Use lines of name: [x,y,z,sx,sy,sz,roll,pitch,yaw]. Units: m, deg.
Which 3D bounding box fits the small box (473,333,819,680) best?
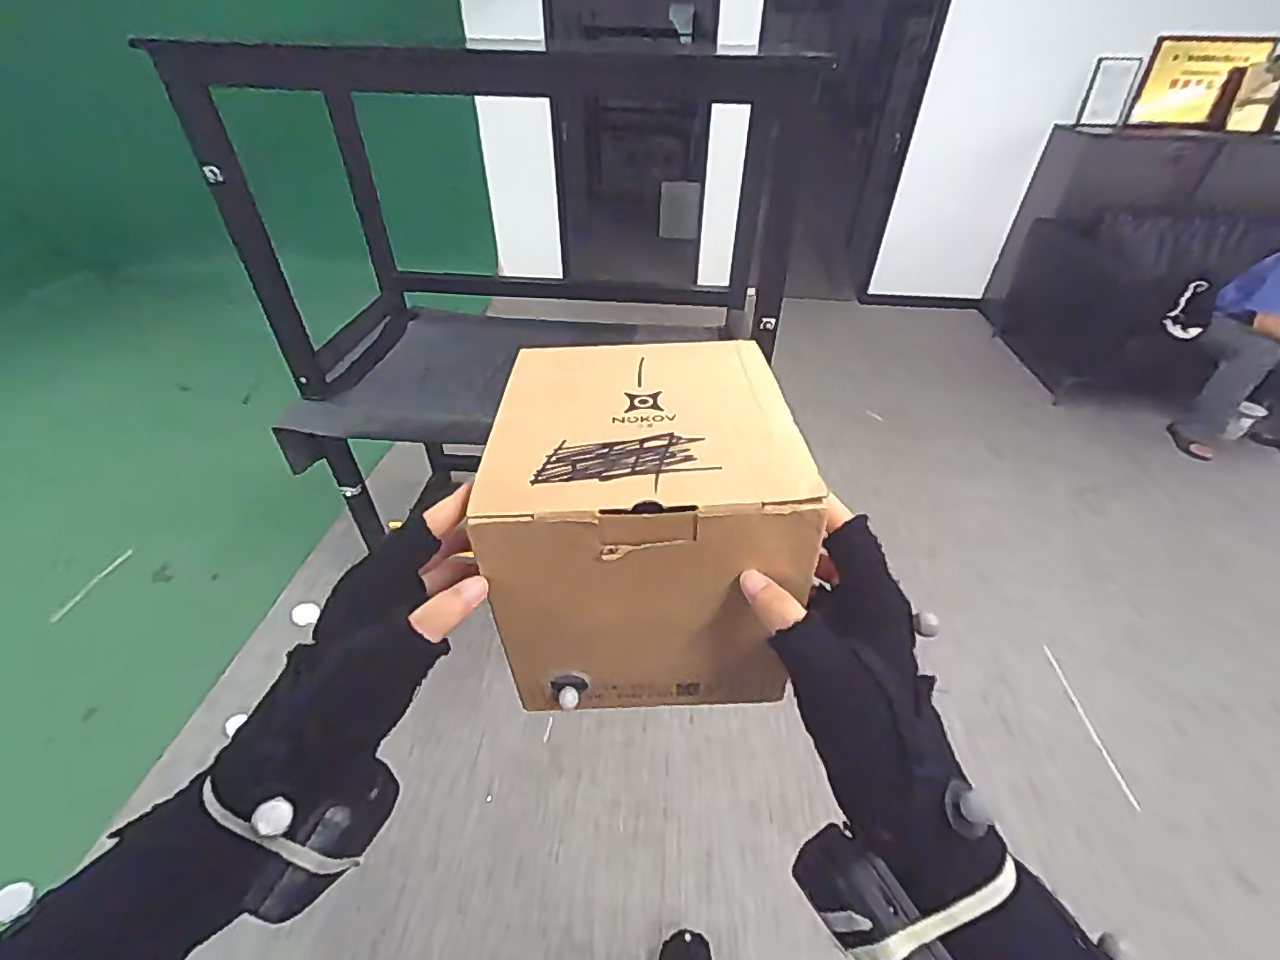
small box: [0.005,0.017,0.362,0.168,0.176,0.179,-2,37,0]
